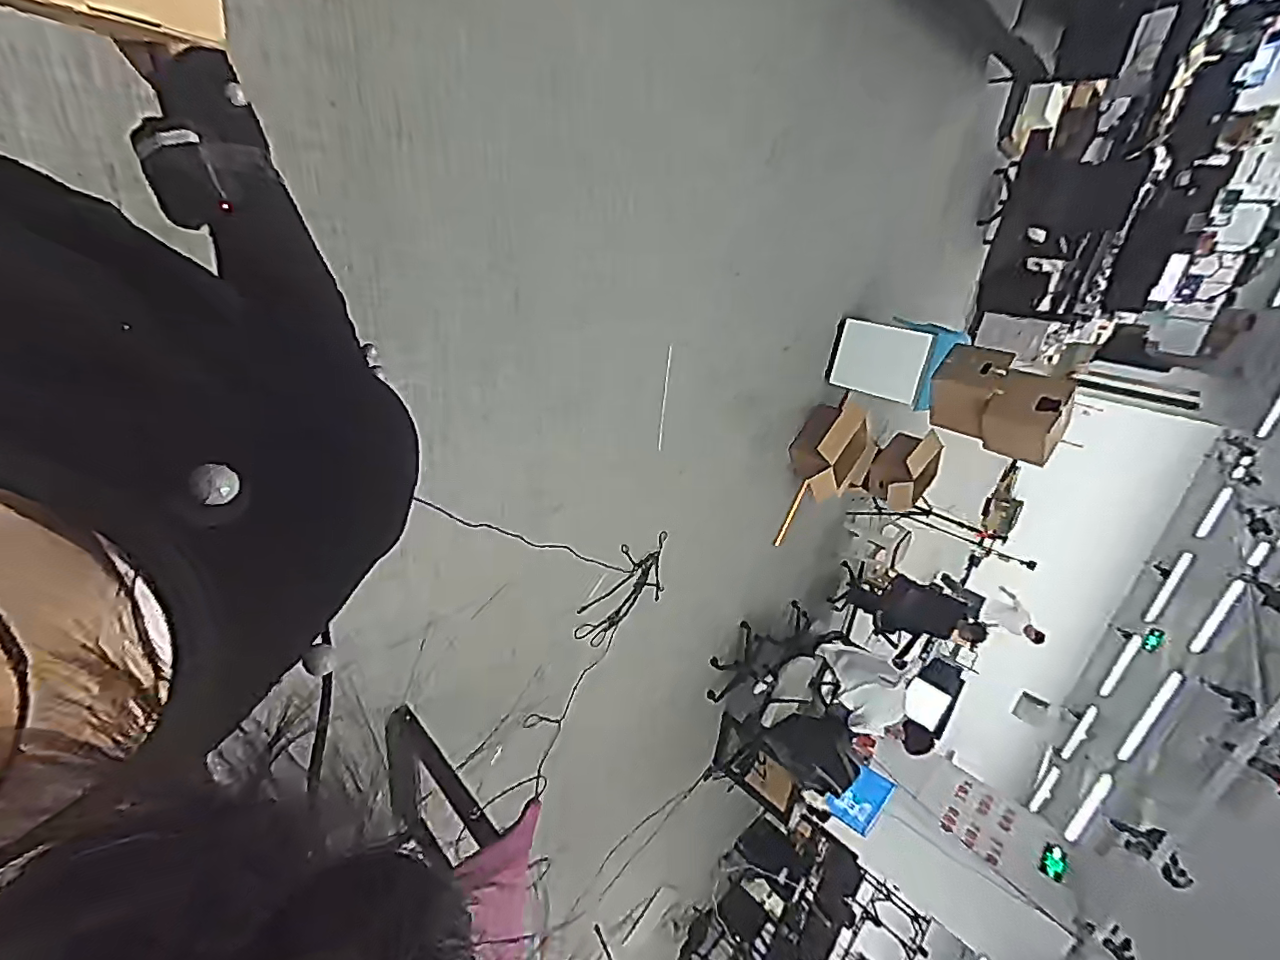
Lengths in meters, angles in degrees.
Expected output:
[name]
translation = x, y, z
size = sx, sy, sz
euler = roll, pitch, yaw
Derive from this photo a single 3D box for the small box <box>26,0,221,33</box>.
[small box]
translation = -0.329, -0.337, 0.239
size = 0.168, 0.176, 0.179
euler = -25, 136, -49
